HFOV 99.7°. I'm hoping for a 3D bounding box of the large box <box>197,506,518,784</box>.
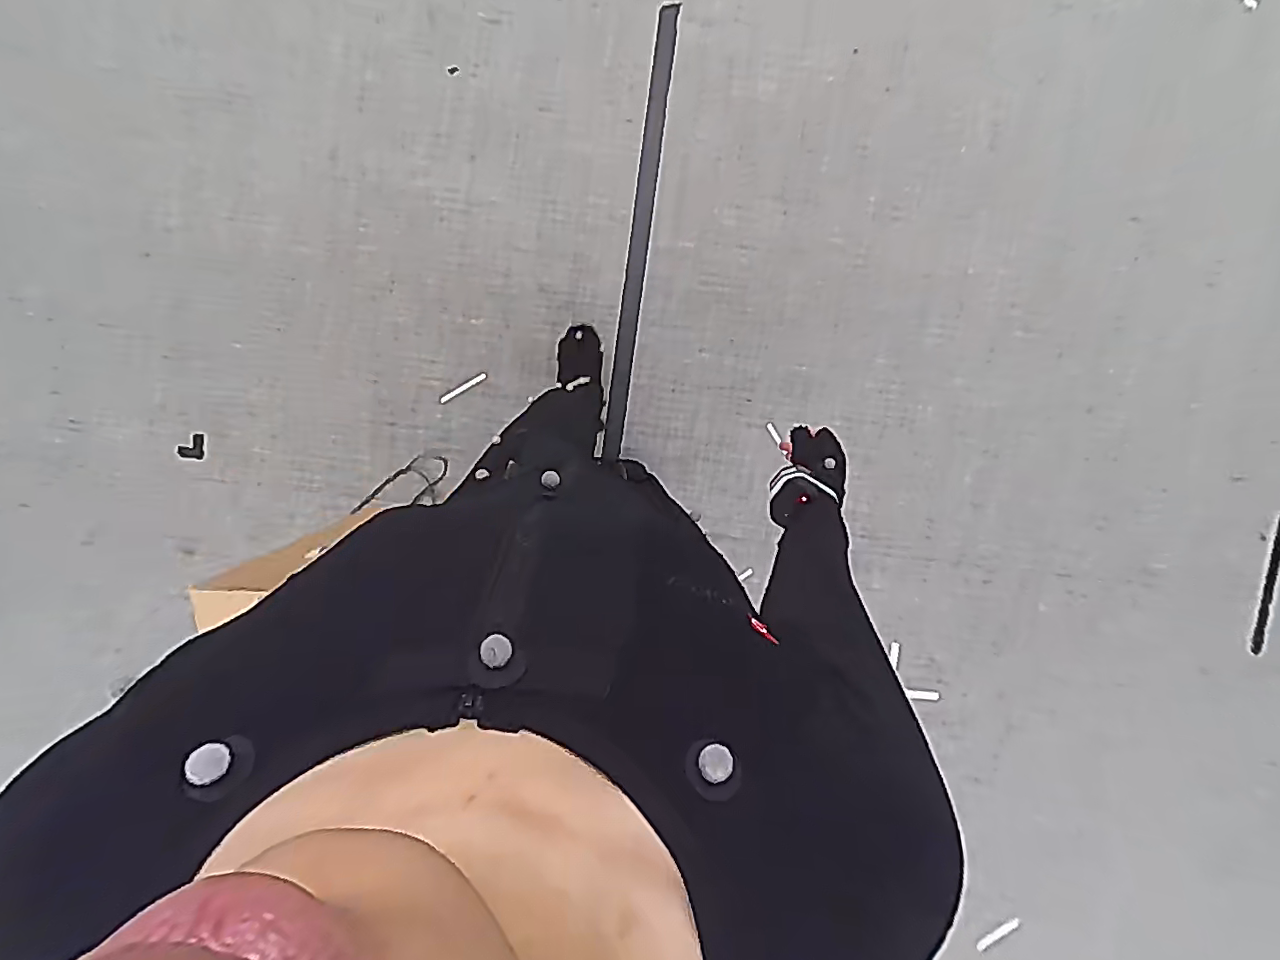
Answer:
[{"bbox_3d":[-0.437,0.250,0.954,0.320,0.408,0.320,-2,103,9],"label":"large box"}]
